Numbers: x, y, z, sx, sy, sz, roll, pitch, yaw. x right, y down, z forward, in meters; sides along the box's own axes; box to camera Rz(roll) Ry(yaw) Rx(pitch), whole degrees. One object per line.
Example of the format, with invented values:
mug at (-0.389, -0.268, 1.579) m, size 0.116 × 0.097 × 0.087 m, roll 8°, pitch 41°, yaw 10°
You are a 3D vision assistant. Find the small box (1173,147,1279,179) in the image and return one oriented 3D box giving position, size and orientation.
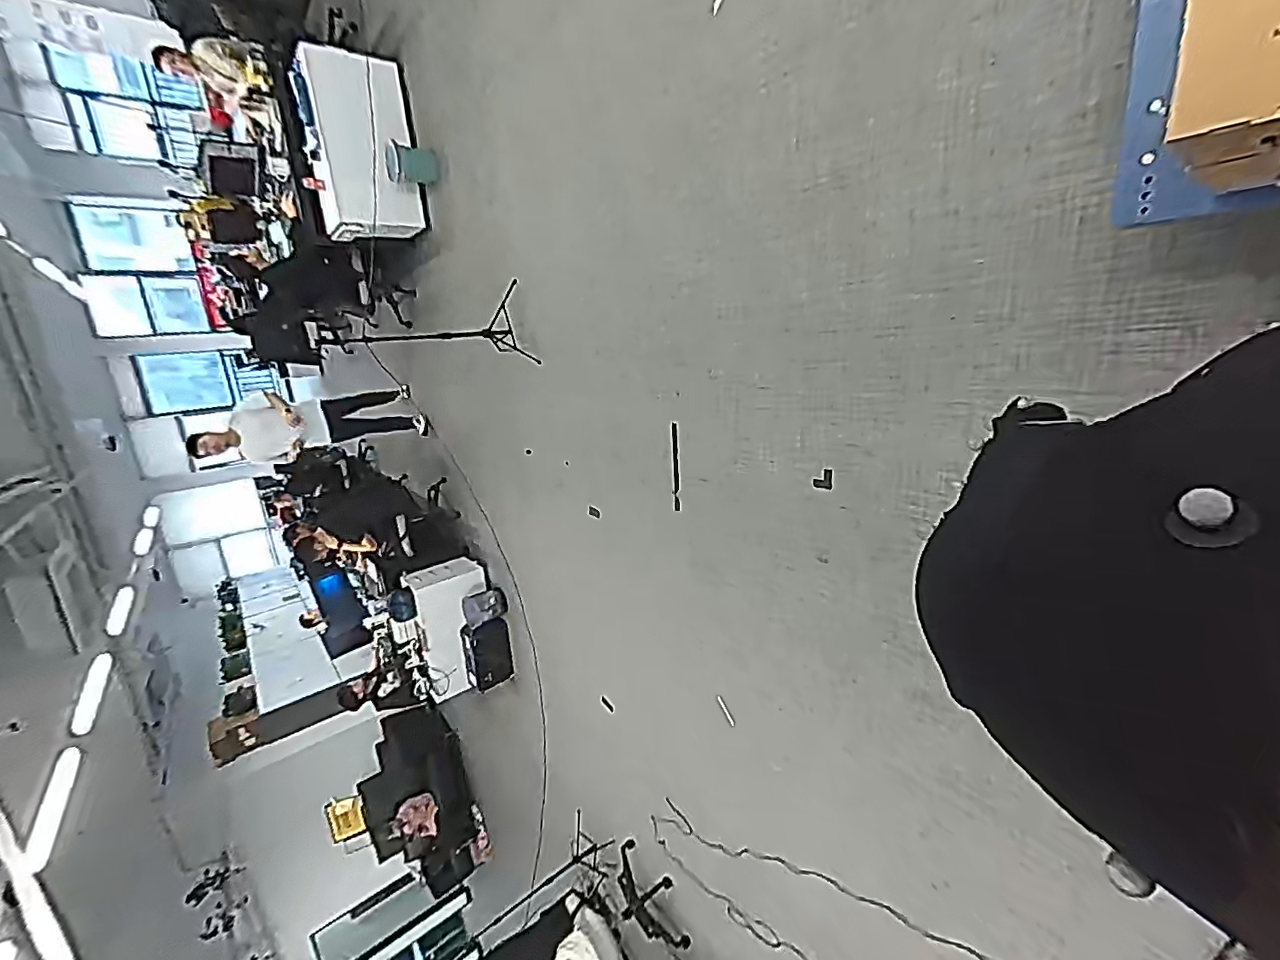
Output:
small box at (0.782, -0.481, 0.653) m, size 0.168 × 0.176 × 0.179 m, roll 9°, pitch 110°, yaw 49°

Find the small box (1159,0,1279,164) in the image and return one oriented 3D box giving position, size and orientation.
small box at (0.663, -0.447, 0.546) m, size 0.168 × 0.176 × 0.179 m, roll 13°, pitch 113°, yaw 49°

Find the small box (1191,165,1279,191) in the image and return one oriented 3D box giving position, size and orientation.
small box at (0.908, -0.518, 0.752) m, size 0.168 × 0.176 × 0.179 m, roll 12°, pitch 111°, yaw 49°
